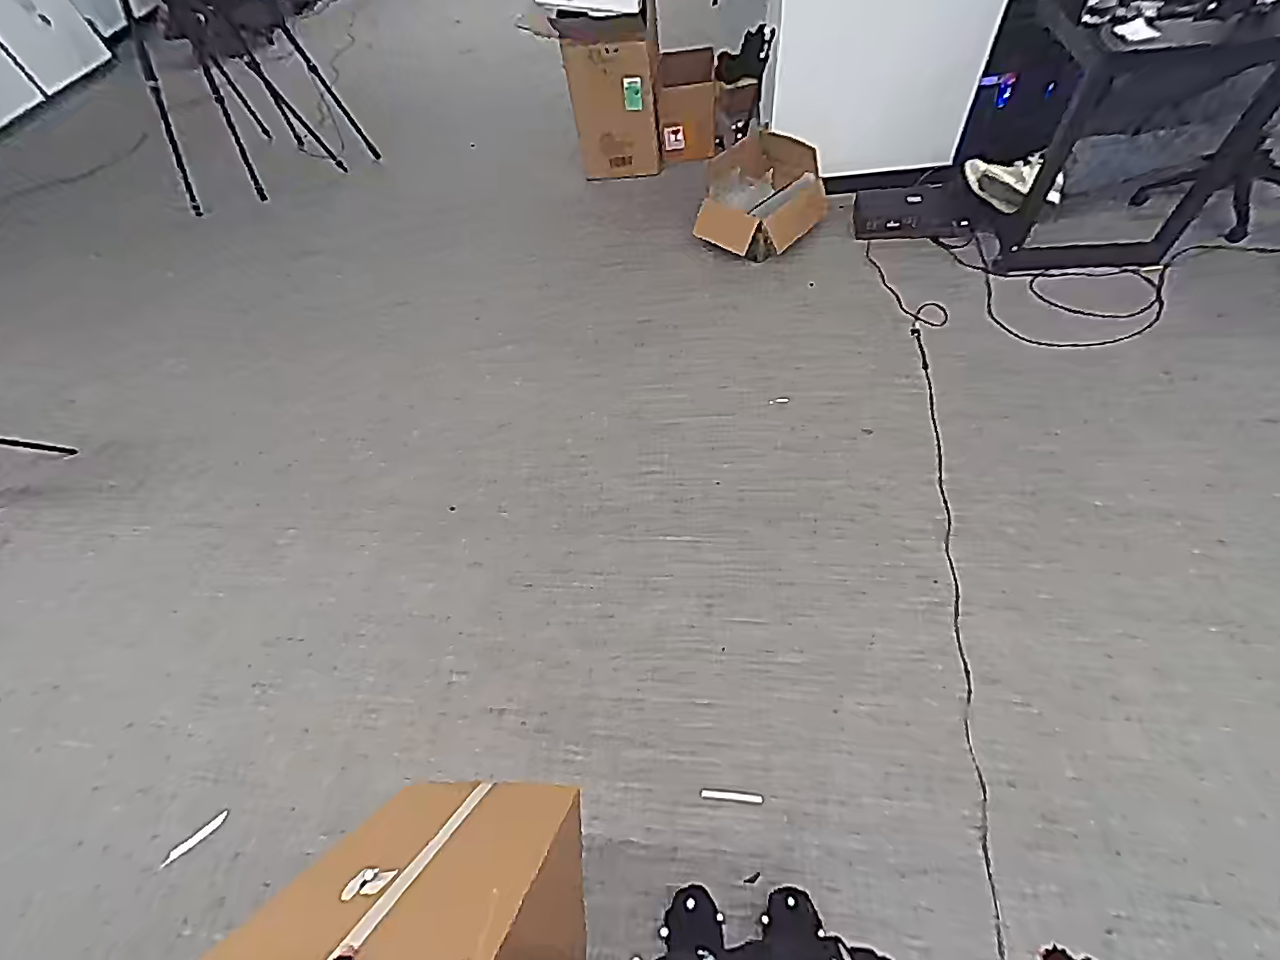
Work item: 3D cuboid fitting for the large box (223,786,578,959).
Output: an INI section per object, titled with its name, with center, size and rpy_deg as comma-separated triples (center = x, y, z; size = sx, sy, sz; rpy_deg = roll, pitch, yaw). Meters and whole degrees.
[large box]
center = -0.278, 0.673, 0.725
size = 0.320, 0.408, 0.320
rpy_deg = -4, 87, 8
